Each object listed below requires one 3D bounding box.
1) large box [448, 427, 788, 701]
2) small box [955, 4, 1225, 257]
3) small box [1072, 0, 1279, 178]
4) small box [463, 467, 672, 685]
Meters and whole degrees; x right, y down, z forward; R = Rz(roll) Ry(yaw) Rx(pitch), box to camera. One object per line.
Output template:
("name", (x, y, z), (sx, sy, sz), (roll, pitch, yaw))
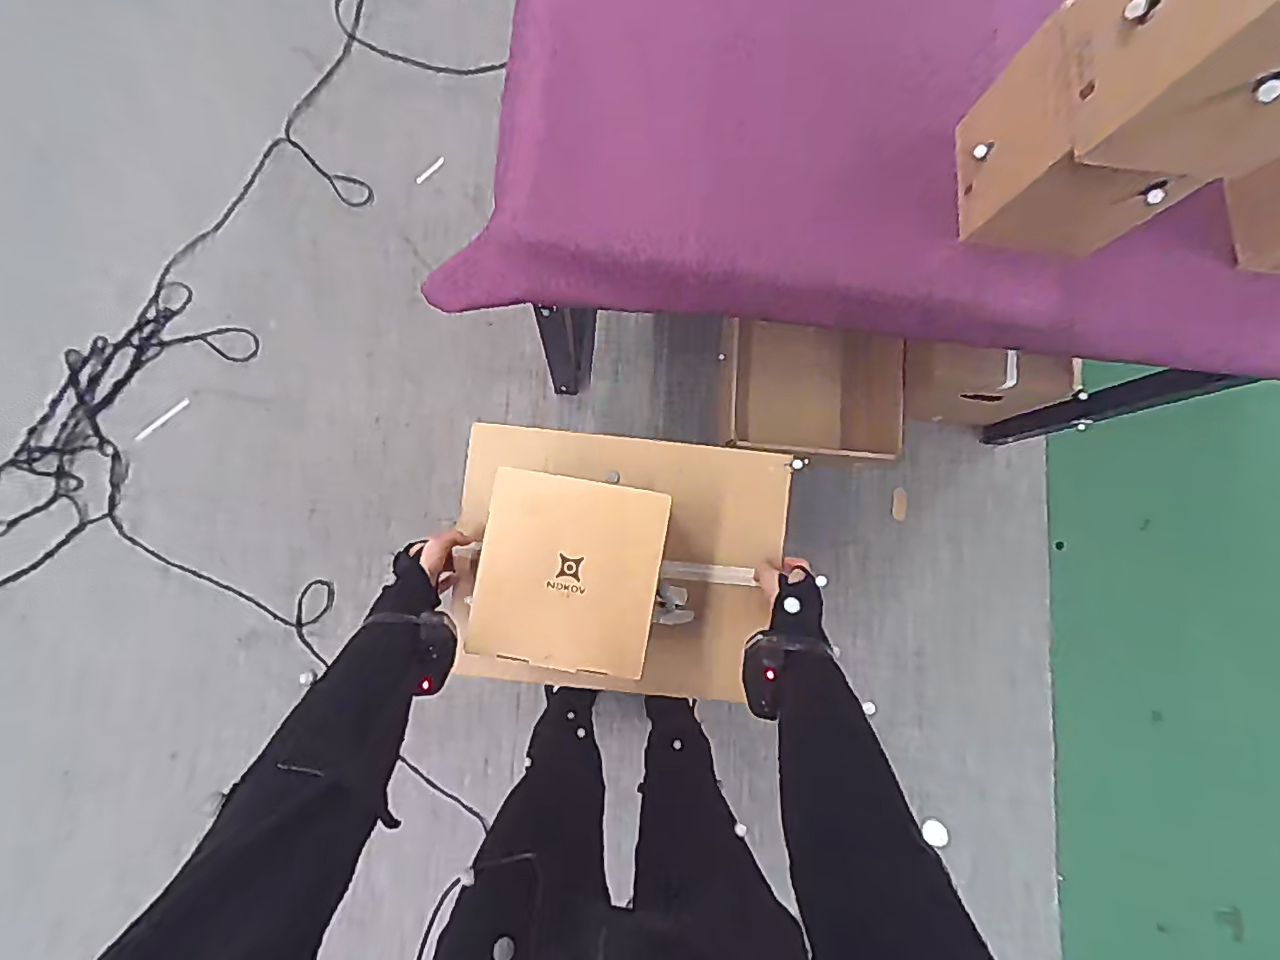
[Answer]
("large box", (-0.030, 0.112, 0.813), (0.408, 0.320, 0.320), (6, 87, -2))
("small box", (0.494, -0.376, 0.612), (0.179, 0.176, 0.168), (4, 81, -4))
("small box", (0.501, -0.382, 0.447), (0.179, 0.176, 0.168), (3, 82, -4))
("small box", (-0.067, 0.089, 0.568), (0.168, 0.176, 0.179), (10, 88, -1))
